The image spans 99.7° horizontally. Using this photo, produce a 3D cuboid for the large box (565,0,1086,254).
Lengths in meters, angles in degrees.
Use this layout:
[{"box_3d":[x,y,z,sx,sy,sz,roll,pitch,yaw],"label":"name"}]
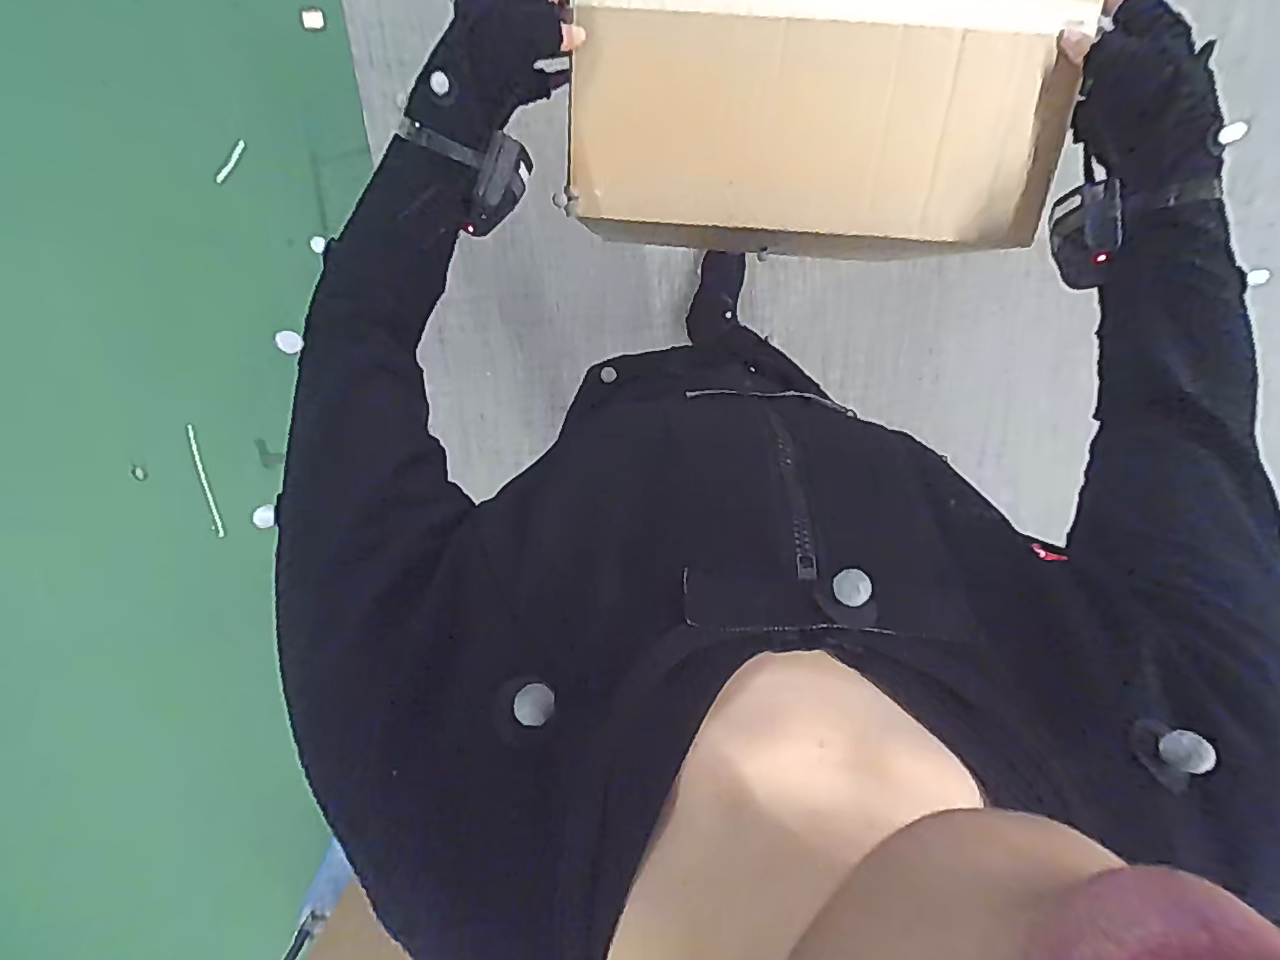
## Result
[{"box_3d":[0.148,-0.414,0.561,0.408,0.320,0.320,4,109,1],"label":"large box"}]
